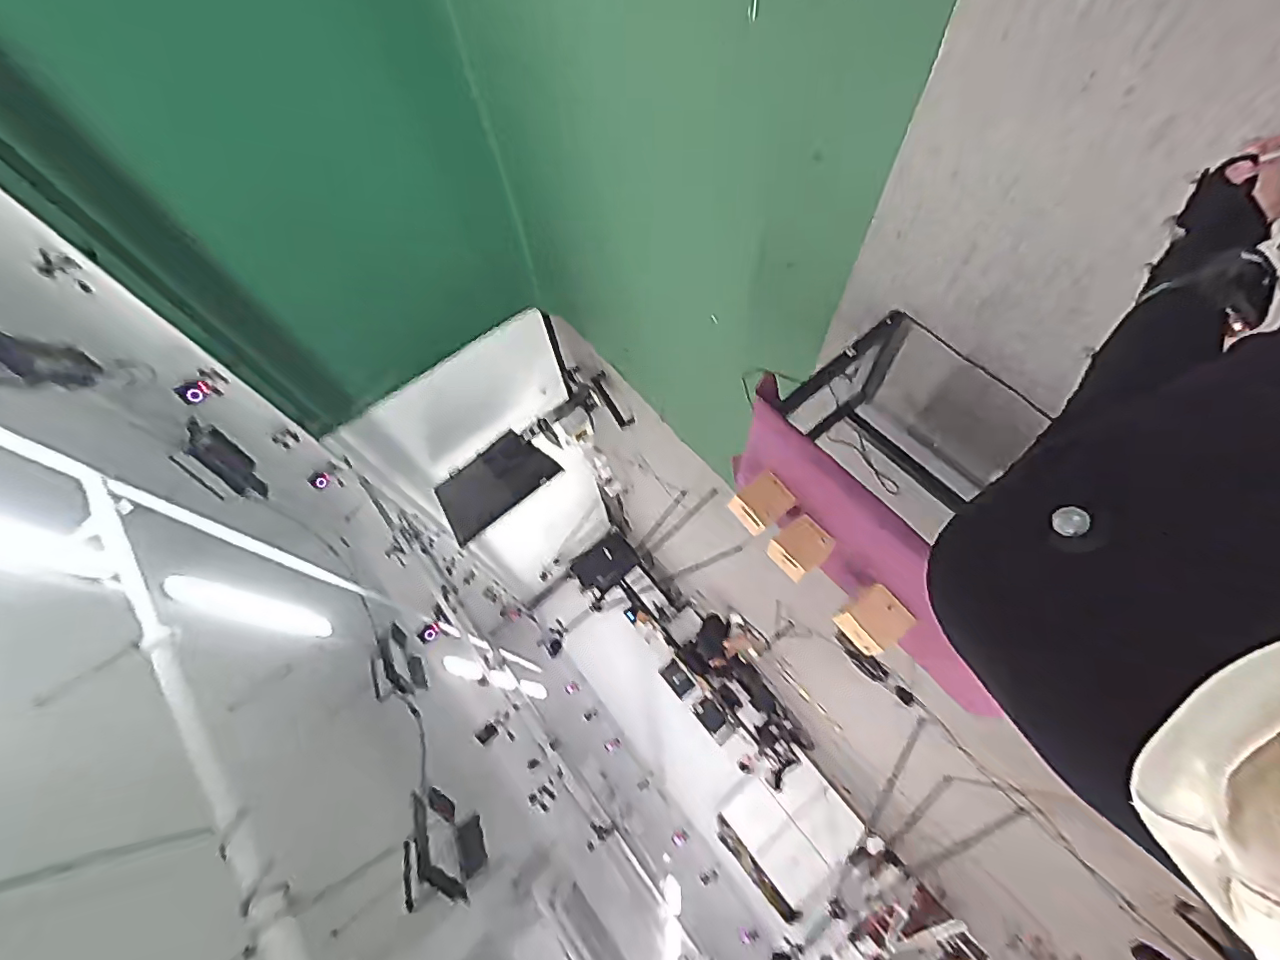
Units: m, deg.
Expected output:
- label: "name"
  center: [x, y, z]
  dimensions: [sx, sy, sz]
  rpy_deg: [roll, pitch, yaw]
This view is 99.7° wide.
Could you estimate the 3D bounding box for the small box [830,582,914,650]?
- label: "small box"
  center: [0.818, 0.477, 1.913]
  dimensions: [0.179, 0.176, 0.168]
  rpy_deg: [50, 167, 13]
